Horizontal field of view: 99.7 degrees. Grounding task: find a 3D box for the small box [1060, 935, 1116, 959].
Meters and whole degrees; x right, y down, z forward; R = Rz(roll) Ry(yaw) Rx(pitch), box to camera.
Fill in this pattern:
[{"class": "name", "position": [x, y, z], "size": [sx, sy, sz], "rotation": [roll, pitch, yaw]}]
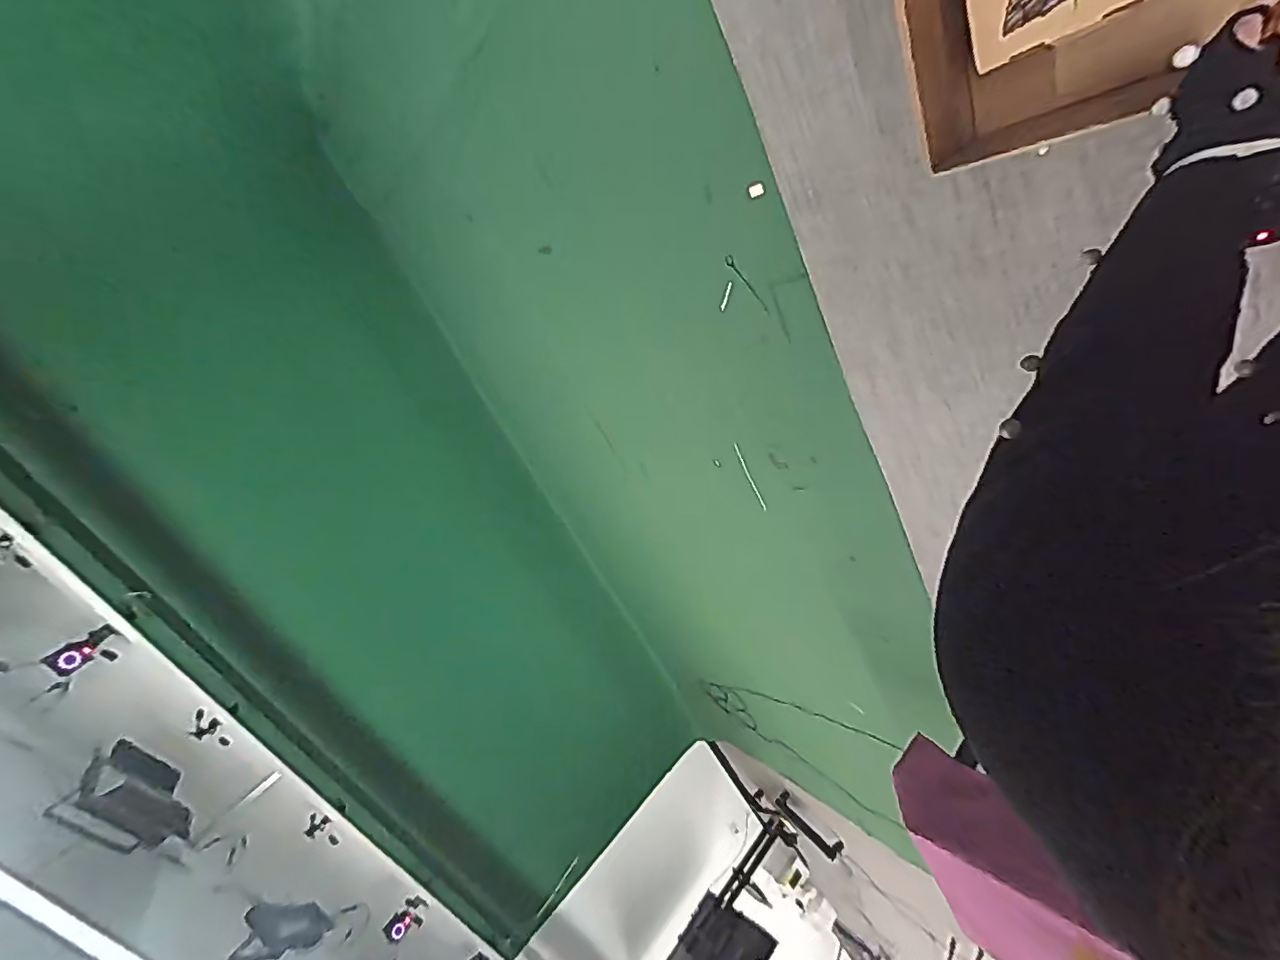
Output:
[{"class": "small box", "position": [1.106, 1.247, 1.281], "size": [0.168, 0.176, 0.179], "rotation": [1, 126, 57]}]
